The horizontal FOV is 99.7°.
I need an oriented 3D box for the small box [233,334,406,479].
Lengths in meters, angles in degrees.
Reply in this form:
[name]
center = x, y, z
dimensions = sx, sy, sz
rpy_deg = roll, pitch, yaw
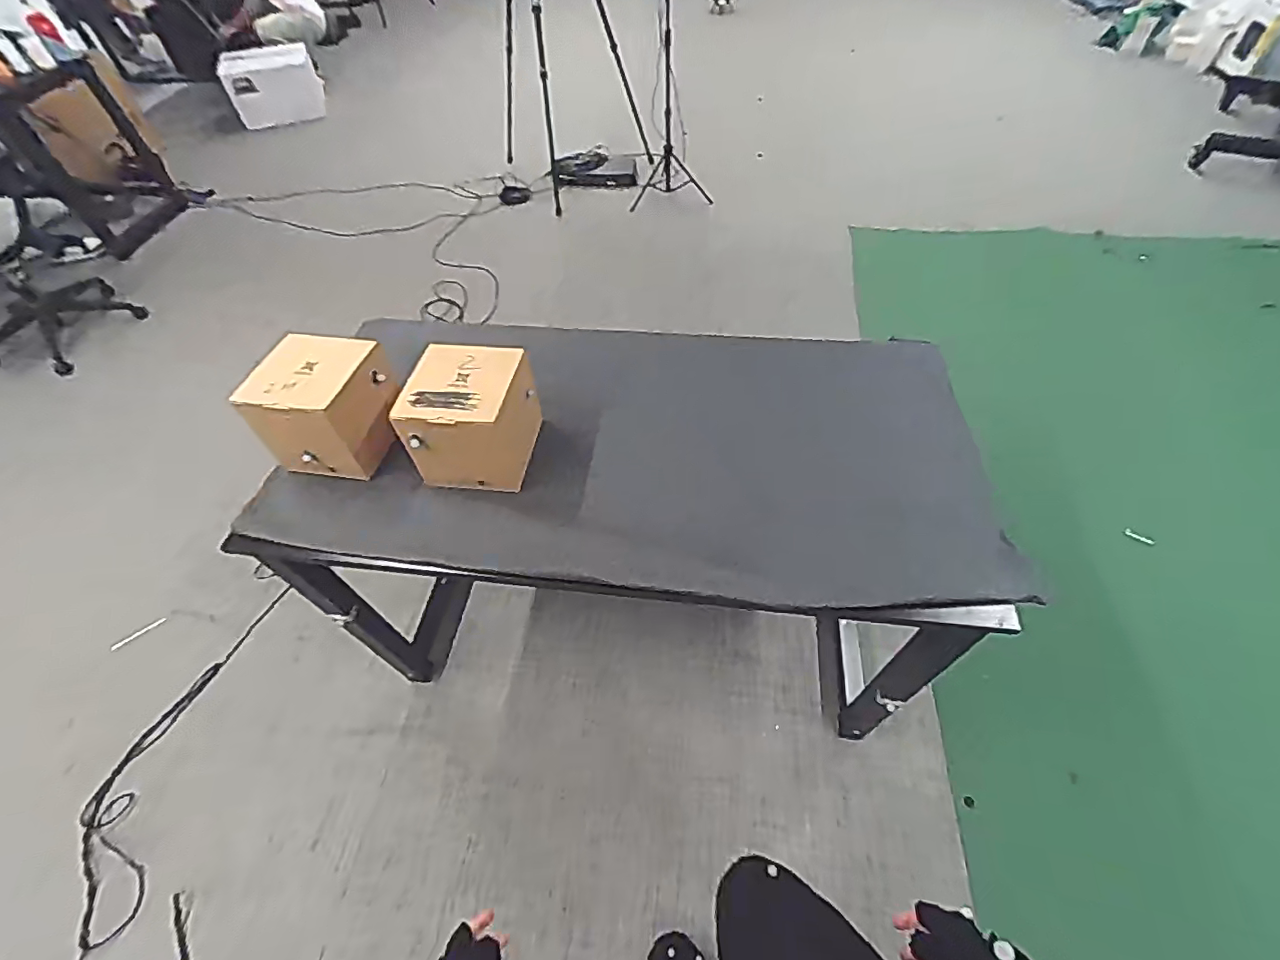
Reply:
[small box]
center = -0.534, -0.126, 0.937
dimensions = 0.168, 0.176, 0.179
rpy_deg = 6, 52, 8
